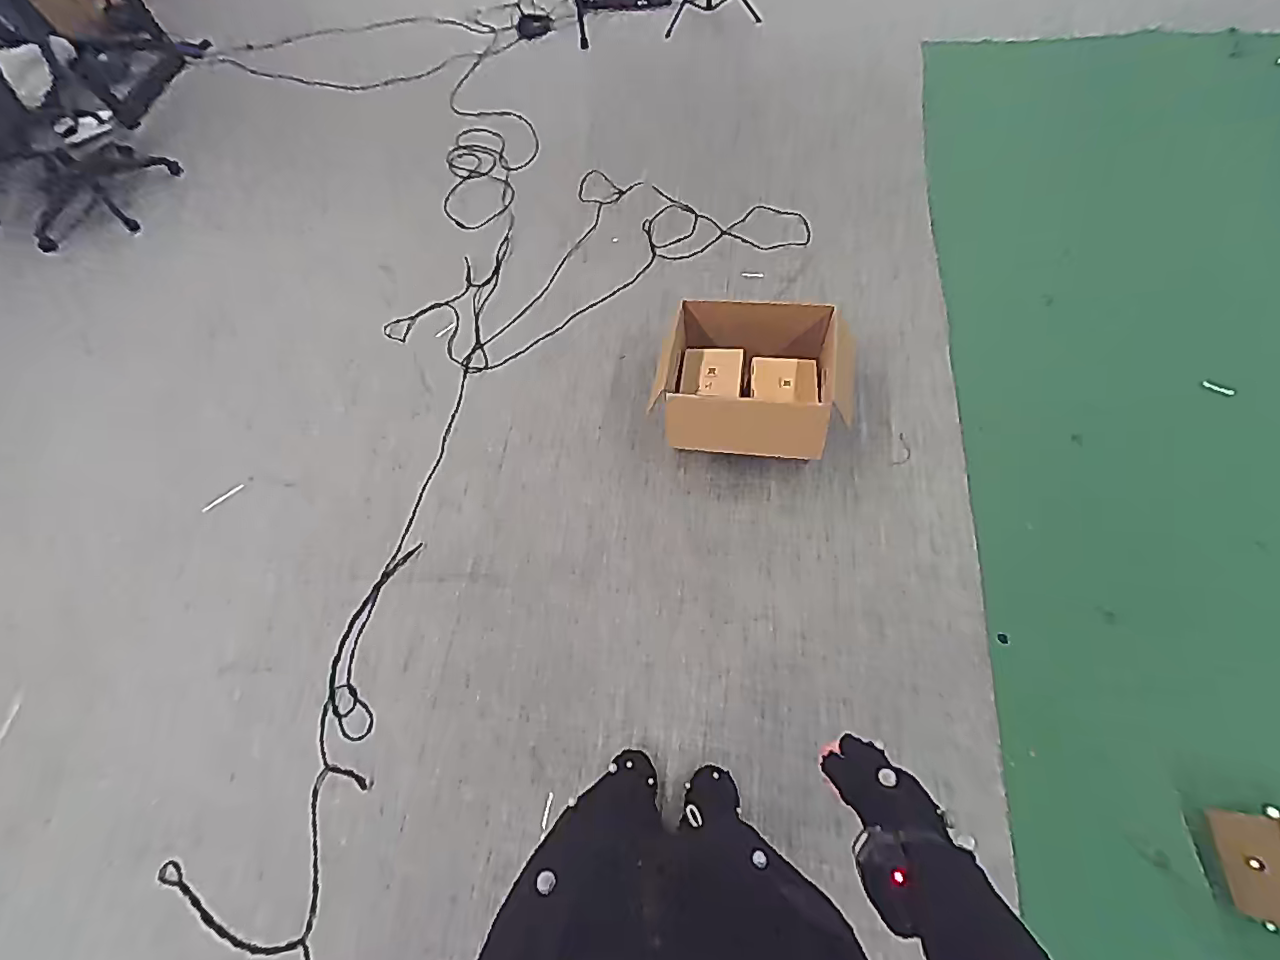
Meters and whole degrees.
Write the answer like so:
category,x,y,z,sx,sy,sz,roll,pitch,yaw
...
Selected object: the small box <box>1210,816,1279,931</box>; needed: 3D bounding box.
category,x,y,z,sx,sy,sz,roll,pitch,yaw
small box,1.227,0.735,0.991,0.168,0.176,0.179,2,63,8
